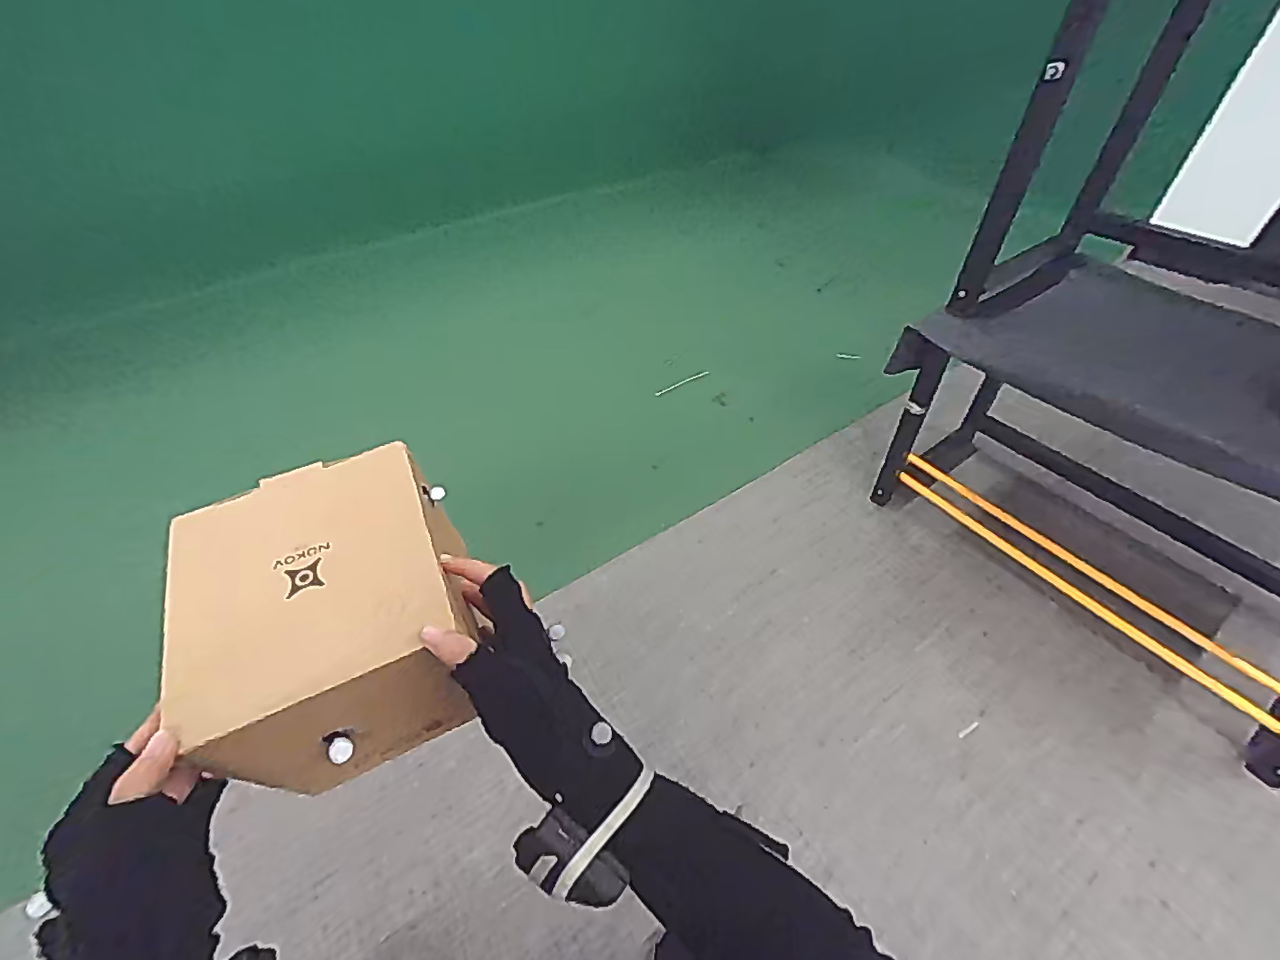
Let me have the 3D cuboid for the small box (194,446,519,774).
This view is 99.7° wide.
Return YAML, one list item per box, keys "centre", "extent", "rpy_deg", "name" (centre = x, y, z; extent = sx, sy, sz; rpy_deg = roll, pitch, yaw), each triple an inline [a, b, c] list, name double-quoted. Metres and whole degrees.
- centre: [-0.211, 0.110, 0.433]
  extent: [0.168, 0.176, 0.179]
  rpy_deg: [-22, 57, -15]
  name: "small box"
